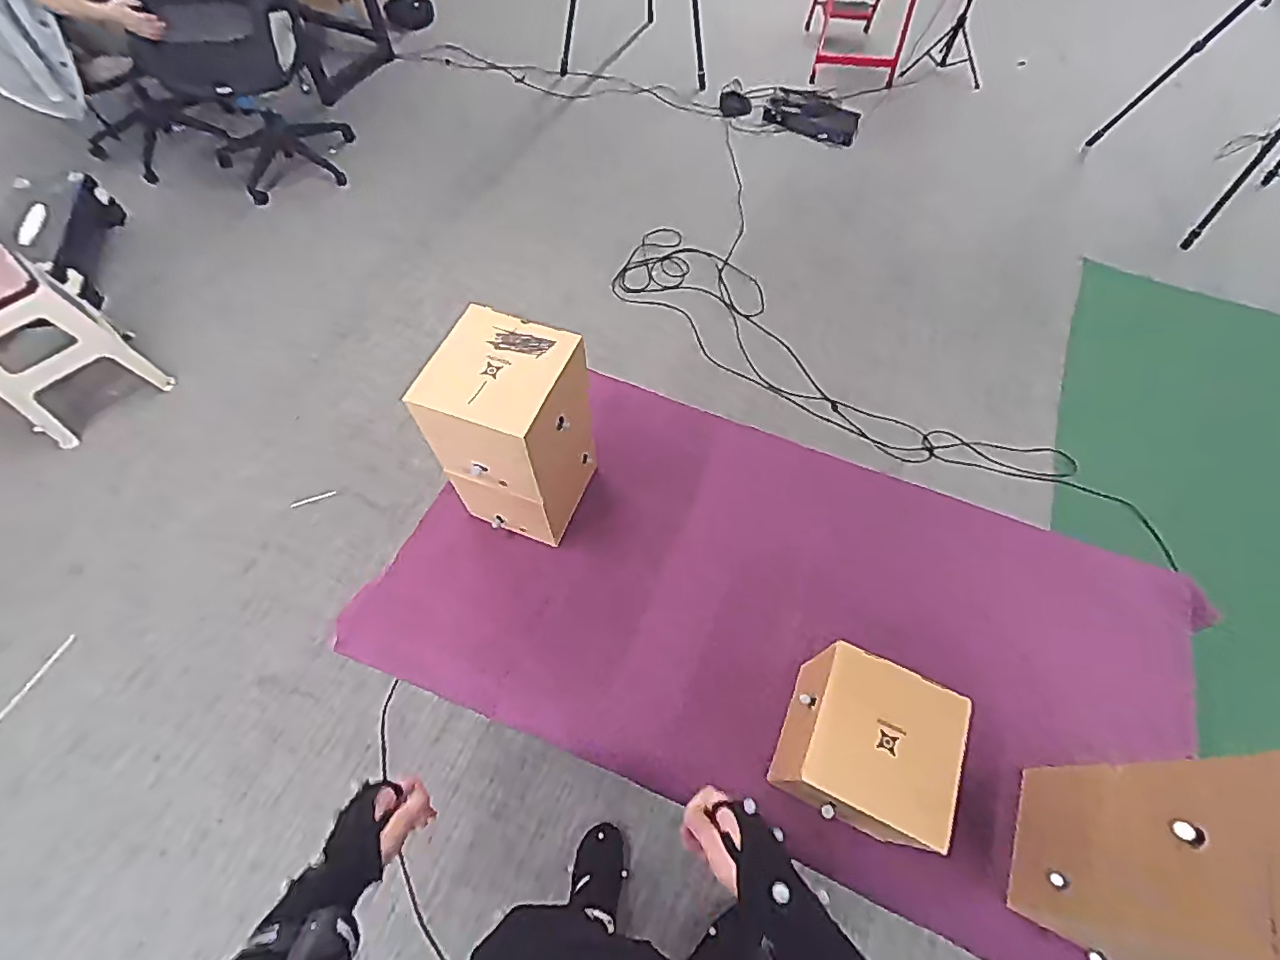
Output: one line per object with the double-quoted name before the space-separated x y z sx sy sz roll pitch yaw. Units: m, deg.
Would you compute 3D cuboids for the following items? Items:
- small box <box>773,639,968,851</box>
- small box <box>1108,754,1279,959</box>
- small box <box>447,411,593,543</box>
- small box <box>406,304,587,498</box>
"small box" 0.284 0.339 0.700 0.168 0.176 0.179 23 62 12
"small box" 0.574 0.380 0.490 0.168 0.176 0.179 24 62 13
"small box" -0.183 -0.024 0.891 0.168 0.176 0.179 19 63 10
"small box" -0.181 -0.104 0.748 0.168 0.176 0.179 18 63 10
